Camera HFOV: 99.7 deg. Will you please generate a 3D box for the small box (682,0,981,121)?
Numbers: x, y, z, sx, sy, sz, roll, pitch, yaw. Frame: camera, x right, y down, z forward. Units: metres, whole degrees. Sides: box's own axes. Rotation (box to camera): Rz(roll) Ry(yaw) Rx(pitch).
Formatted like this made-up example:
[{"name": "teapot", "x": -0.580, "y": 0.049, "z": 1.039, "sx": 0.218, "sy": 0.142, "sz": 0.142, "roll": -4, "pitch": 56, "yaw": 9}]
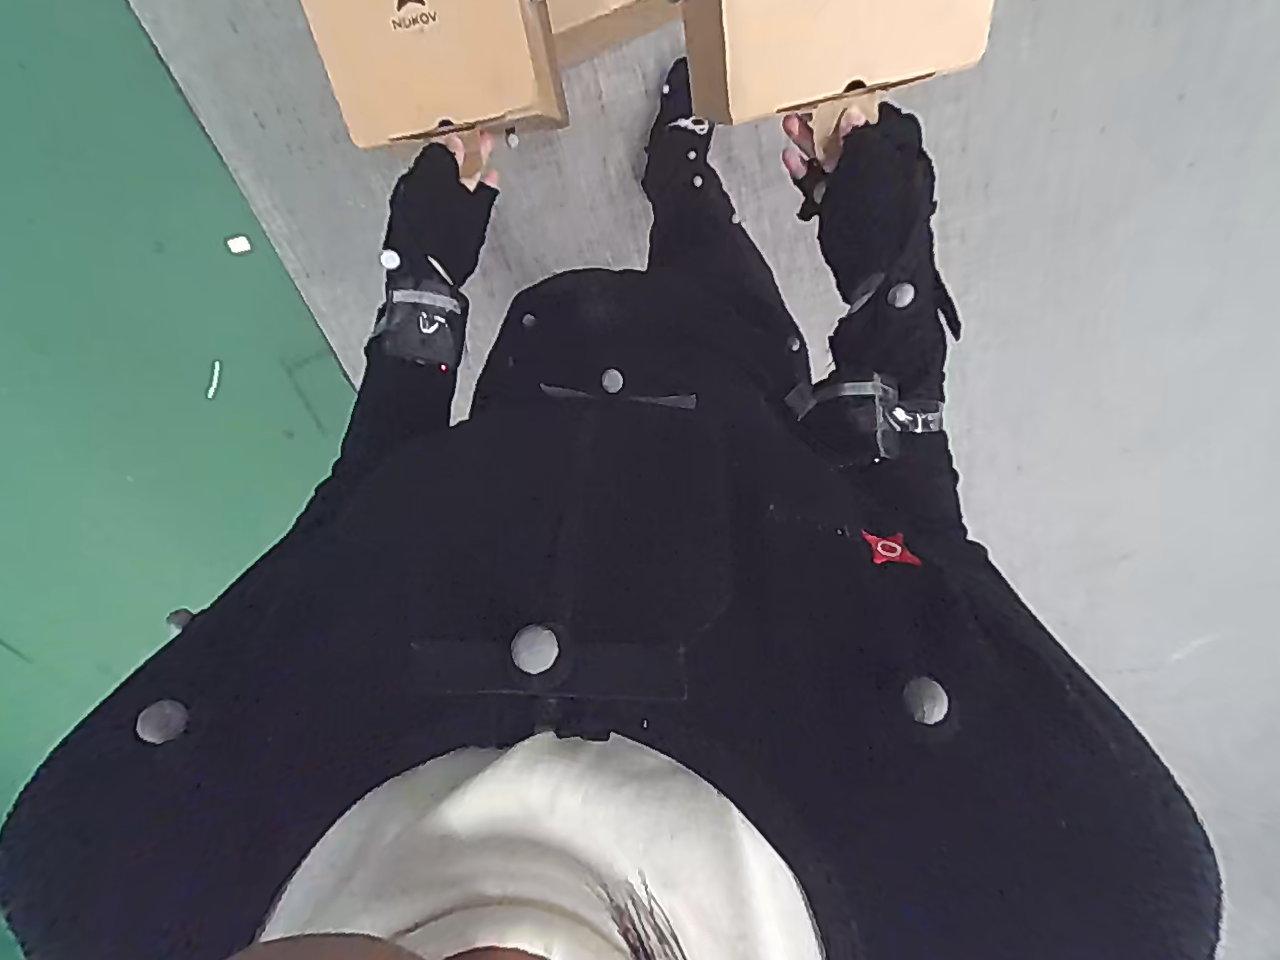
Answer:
[{"name": "small box", "x": 0.118, "y": -0.374, "z": 0.372, "sx": 0.168, "sy": 0.176, "sz": 0.179, "roll": -11, "pitch": 127, "yaw": 5}]
